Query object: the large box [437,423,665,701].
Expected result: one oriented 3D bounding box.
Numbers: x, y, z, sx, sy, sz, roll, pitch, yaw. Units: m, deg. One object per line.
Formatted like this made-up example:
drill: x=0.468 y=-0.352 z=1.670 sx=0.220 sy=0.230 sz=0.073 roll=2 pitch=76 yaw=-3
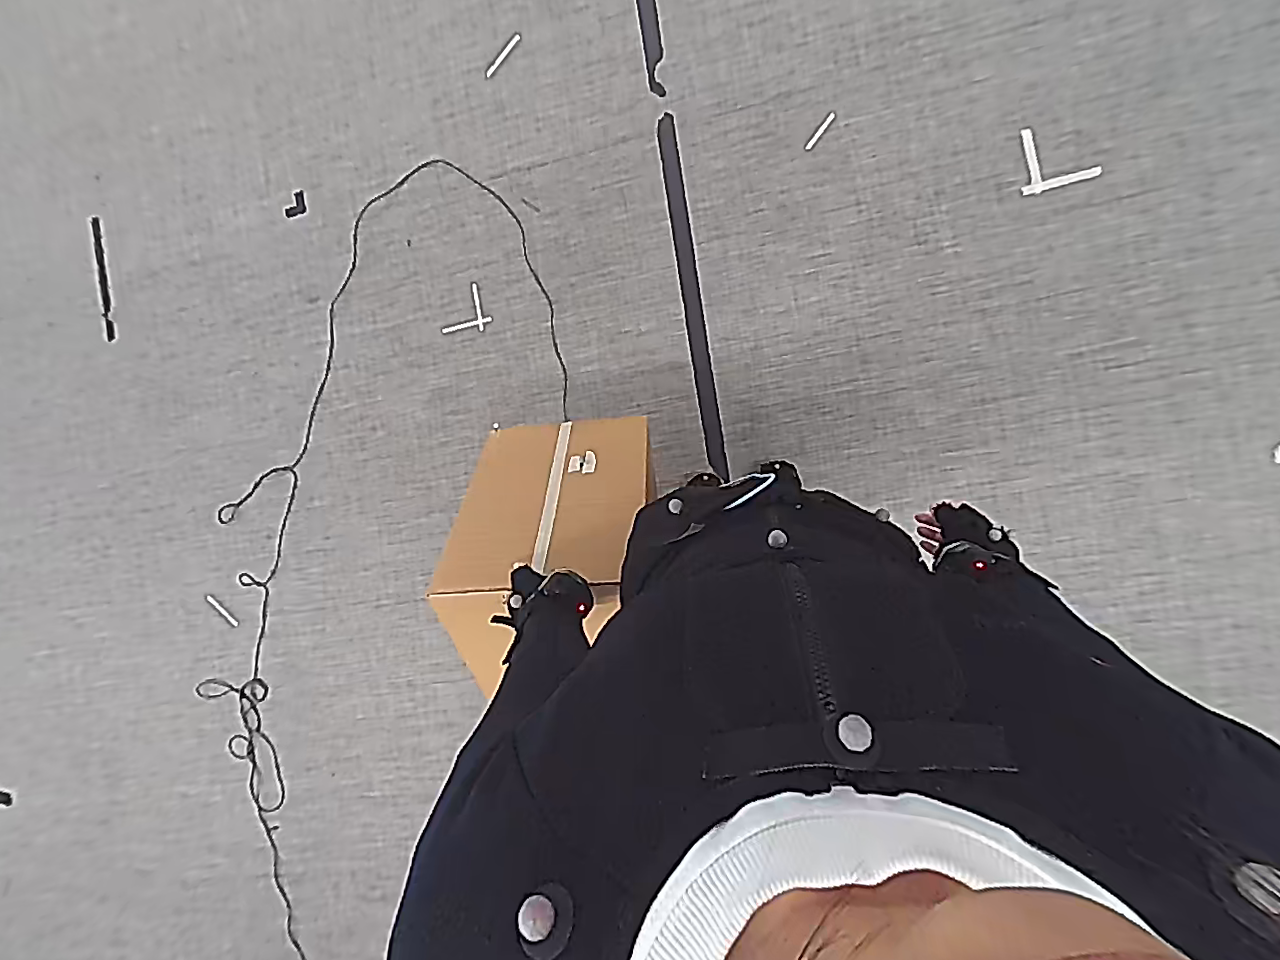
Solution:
large box: x=-0.125 y=0.142 z=1.004 sx=0.320 sy=0.408 sz=0.320 roll=-4 pitch=129 yaw=4
